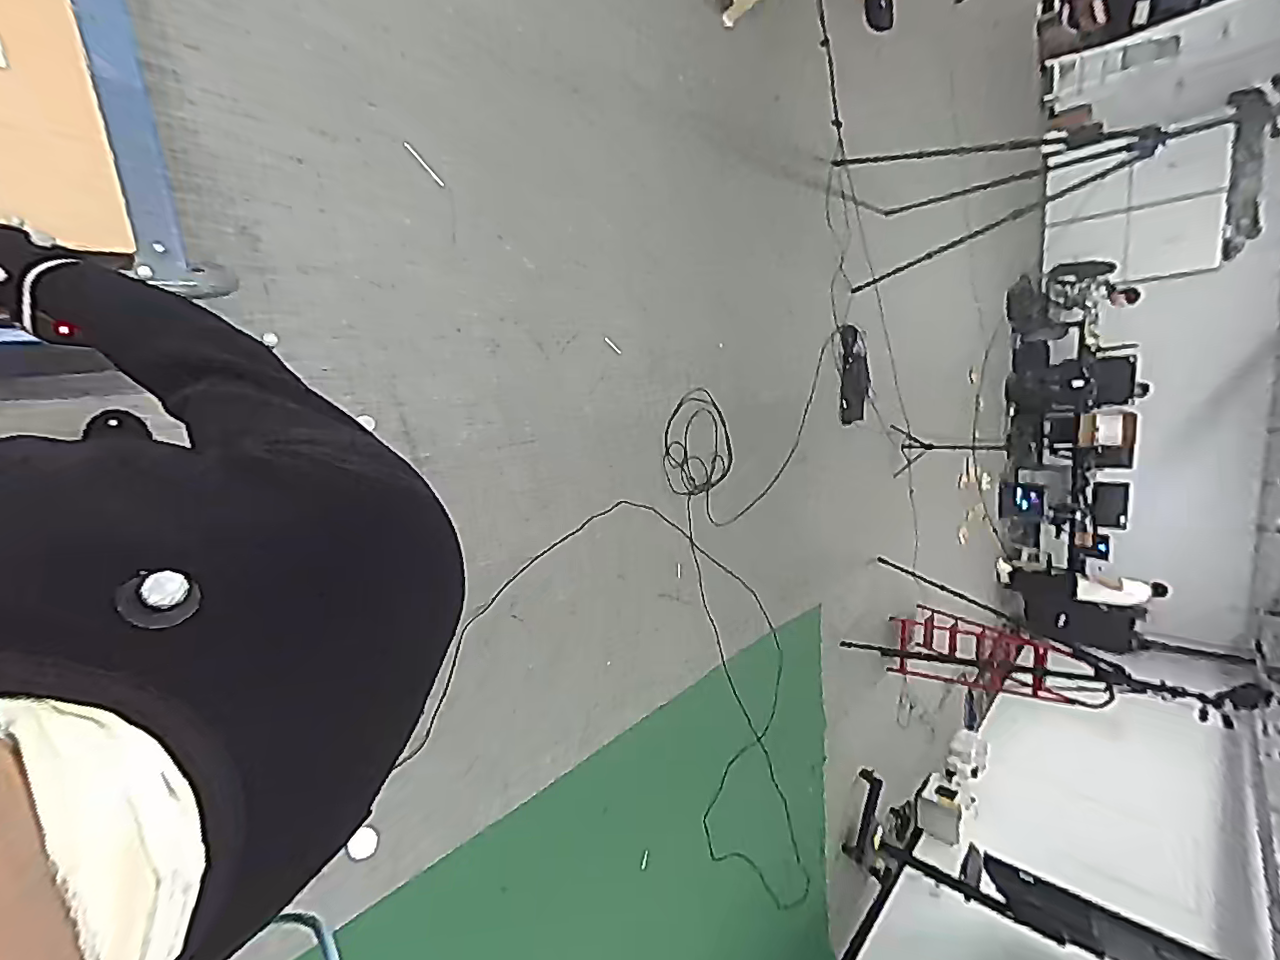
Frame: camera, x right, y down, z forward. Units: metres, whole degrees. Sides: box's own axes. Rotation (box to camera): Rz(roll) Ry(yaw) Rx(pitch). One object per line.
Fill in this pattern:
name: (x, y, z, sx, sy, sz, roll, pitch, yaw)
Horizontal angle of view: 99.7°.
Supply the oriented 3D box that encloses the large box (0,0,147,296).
large box: (-1.019, -0.515, 0.827, 0.320, 0.320, 0.408, -17, 104, -43)
